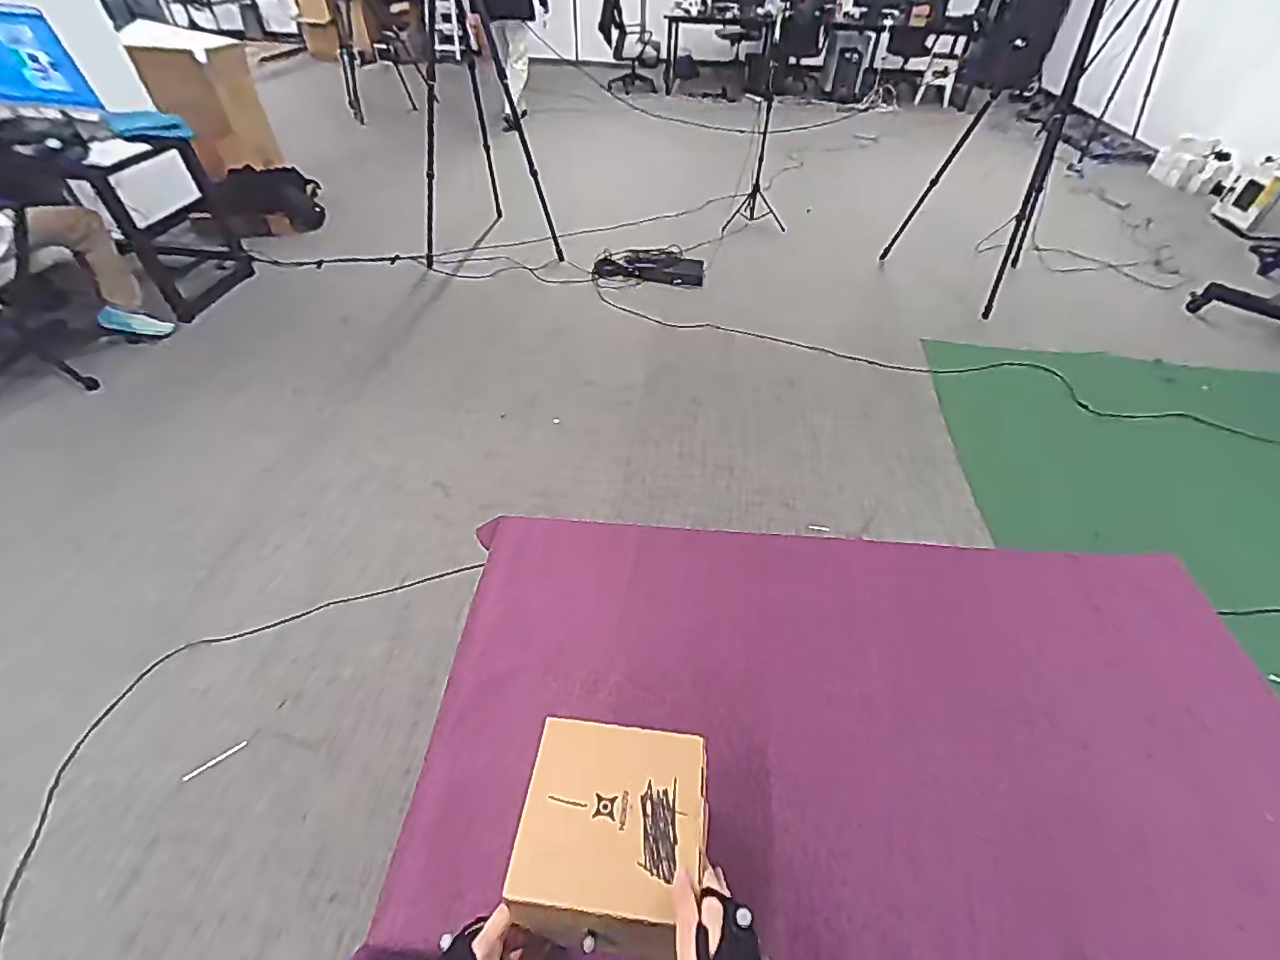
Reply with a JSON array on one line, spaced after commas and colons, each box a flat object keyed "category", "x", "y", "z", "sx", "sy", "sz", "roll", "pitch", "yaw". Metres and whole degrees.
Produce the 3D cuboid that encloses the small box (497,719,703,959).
[{"category": "small box", "x": -0.033, "y": 0.384, "z": 0.578, "sx": 0.179, "sy": 0.176, "sz": 0.168, "roll": 6, "pitch": 40, "yaw": 4}]
